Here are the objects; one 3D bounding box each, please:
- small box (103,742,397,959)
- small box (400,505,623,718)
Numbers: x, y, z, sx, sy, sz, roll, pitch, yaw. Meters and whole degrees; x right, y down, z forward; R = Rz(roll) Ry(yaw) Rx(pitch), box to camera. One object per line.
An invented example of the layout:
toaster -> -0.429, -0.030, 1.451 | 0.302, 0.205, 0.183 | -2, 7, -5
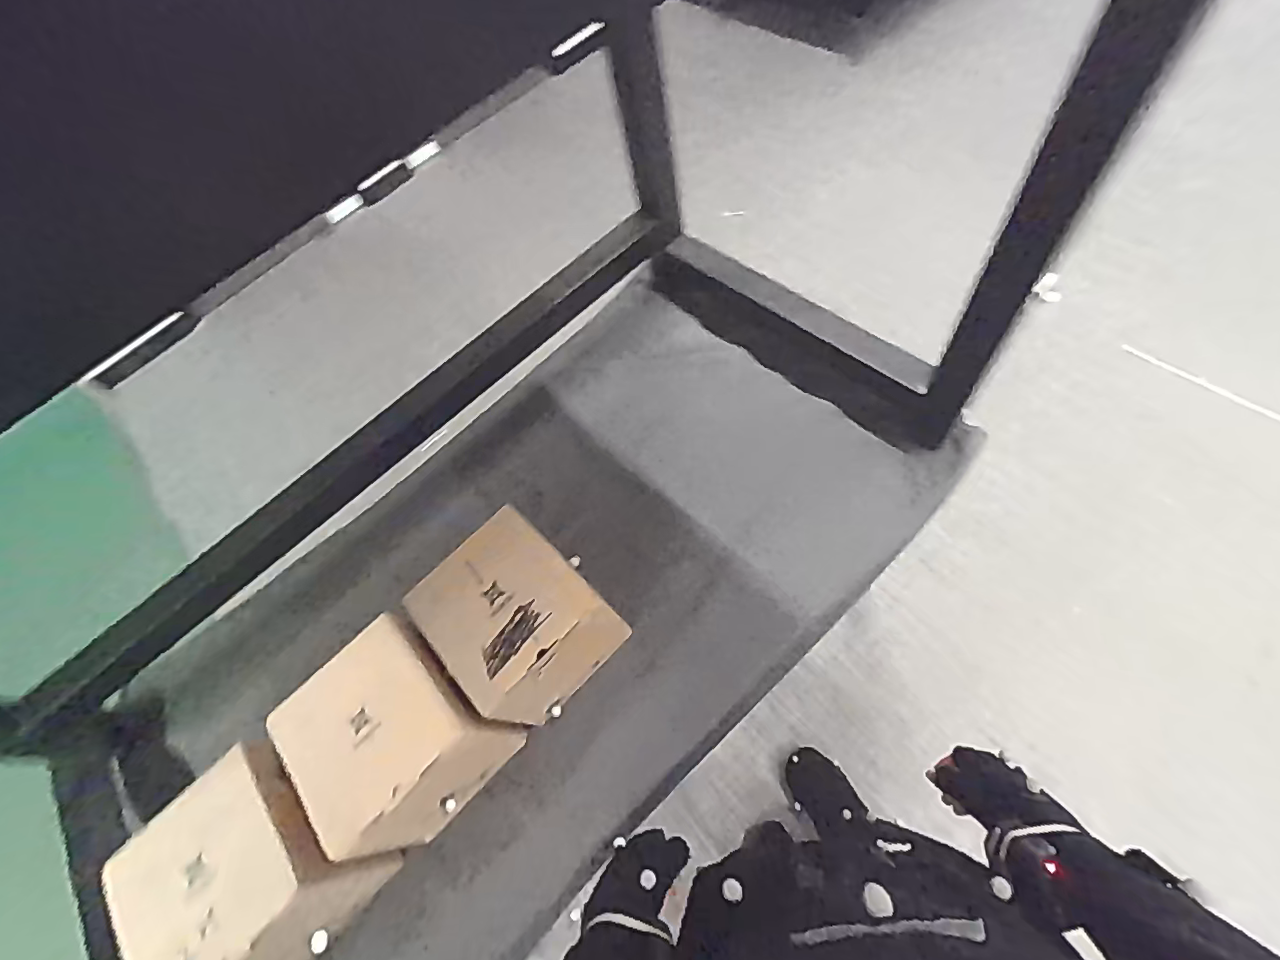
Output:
small box -> -0.411, 0.420, 0.592 | 0.168, 0.176, 0.179 | -45, 62, -11
small box -> -0.145, 0.167, 0.664 | 0.168, 0.176, 0.179 | -44, 62, -11
